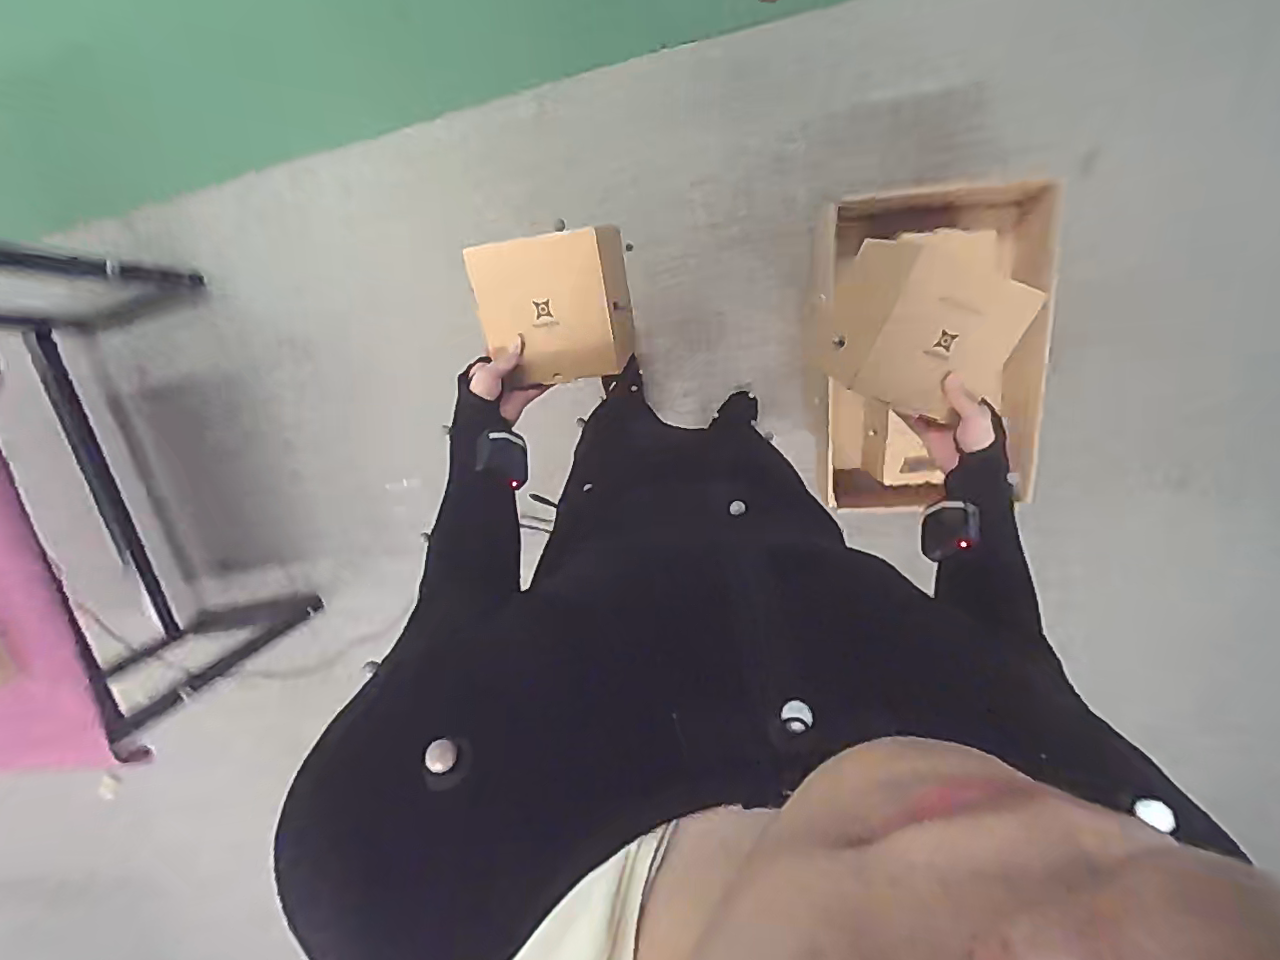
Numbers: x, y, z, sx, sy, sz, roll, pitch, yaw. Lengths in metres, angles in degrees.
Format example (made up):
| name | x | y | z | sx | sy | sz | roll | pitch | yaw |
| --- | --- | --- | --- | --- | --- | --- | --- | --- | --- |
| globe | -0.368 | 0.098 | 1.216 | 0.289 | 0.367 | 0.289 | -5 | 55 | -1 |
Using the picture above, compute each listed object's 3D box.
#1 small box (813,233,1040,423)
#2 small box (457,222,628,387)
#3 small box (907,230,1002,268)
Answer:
| name | x | y | z | sx | sy | sz | roll | pitch | yaw |
| --- | --- | --- | --- | --- | --- | --- | --- | --- | --- |
| small box | 0.344 | -0.202 | 0.697 | 0.168 | 0.176 | 0.179 | 16 | 115 | -9 |
| small box | -0.117 | -0.242 | 0.732 | 0.168 | 0.176 | 0.179 | -6 | 116 | 10 |
| small box | 0.566 | -0.373 | 1.054 | 0.168 | 0.176 | 0.179 | 2 | 103 | 8 |
